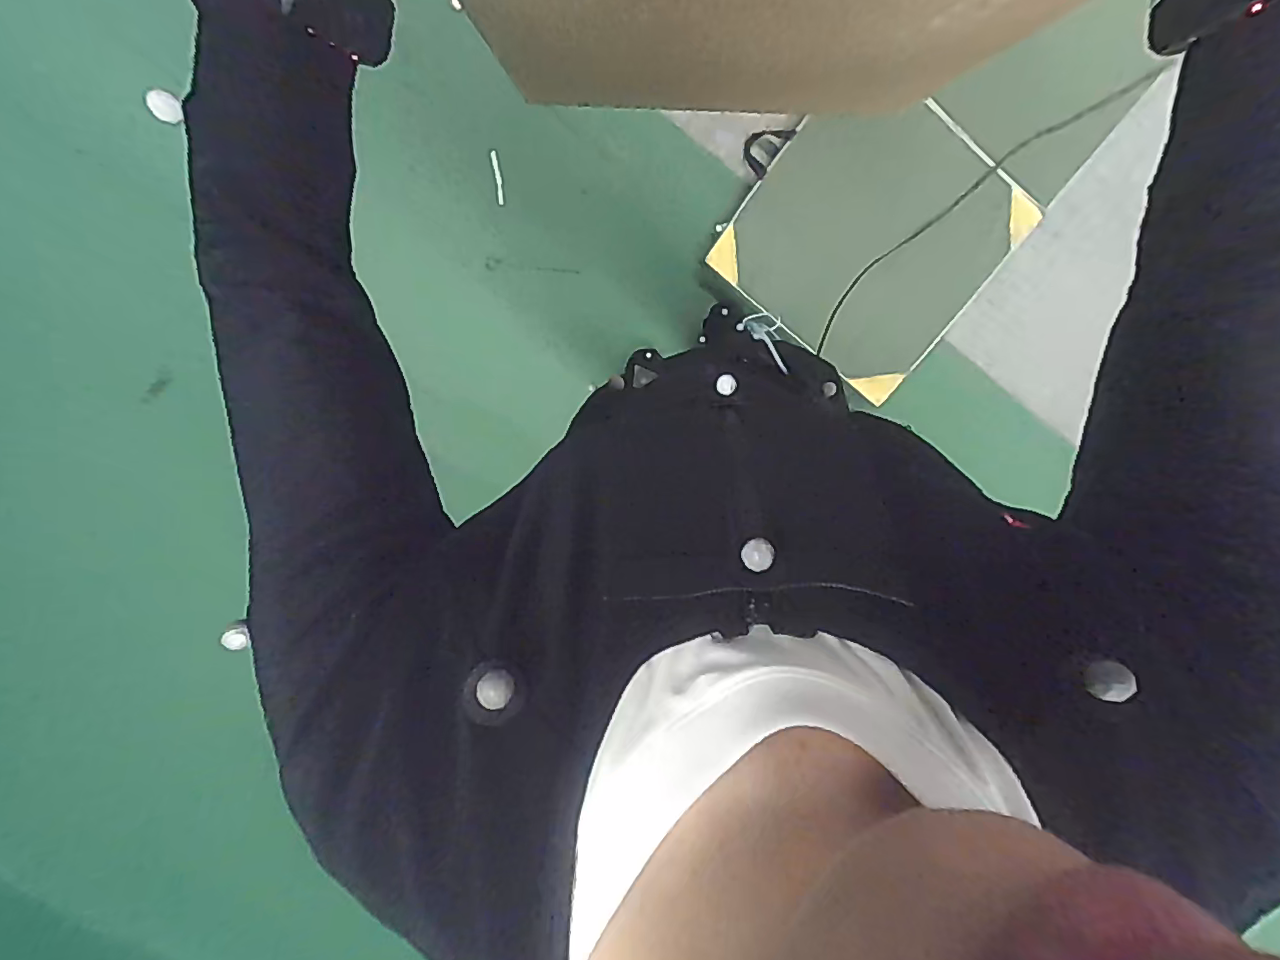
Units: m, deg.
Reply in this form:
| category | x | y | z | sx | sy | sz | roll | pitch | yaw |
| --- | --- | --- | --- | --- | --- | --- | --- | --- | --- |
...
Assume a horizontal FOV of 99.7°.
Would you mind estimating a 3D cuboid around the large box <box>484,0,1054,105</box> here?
| category | x | y | z | sx | sy | sz | roll | pitch | yaw |
| --- | --- | --- | --- | --- | --- | --- | --- | --- | --- |
| large box | 0.086 | -0.493 | 0.385 | 0.408 | 0.320 | 0.320 | 1 | 112 | -2 |
